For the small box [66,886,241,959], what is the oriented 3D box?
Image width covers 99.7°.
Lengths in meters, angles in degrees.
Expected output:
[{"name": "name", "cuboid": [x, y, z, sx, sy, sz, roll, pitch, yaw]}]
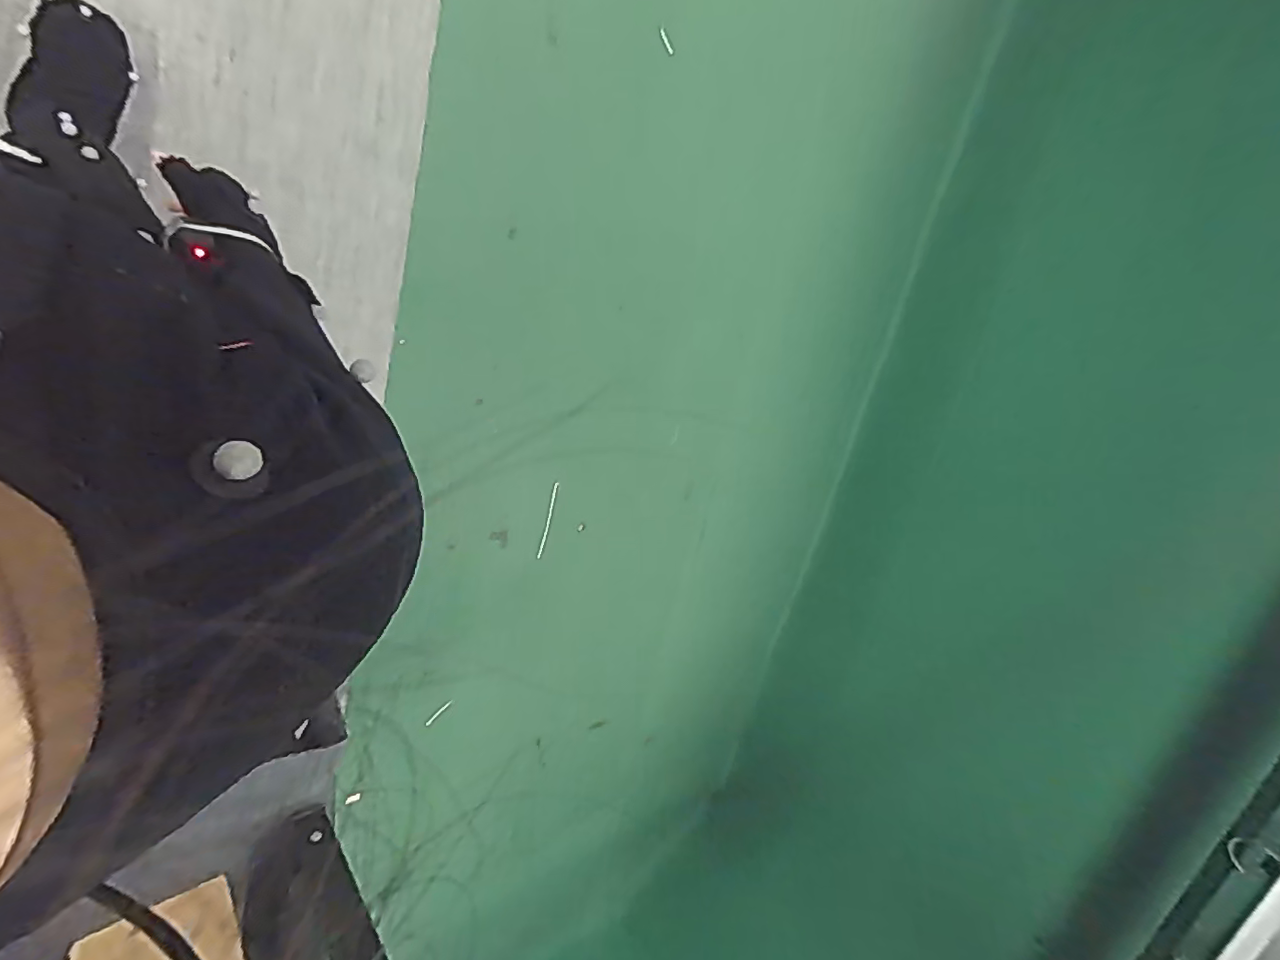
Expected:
[{"name": "small box", "cuboid": [-0.671, 0.718, 0.750, 0.168, 0.176, 0.179, -4, 115, -46]}]
